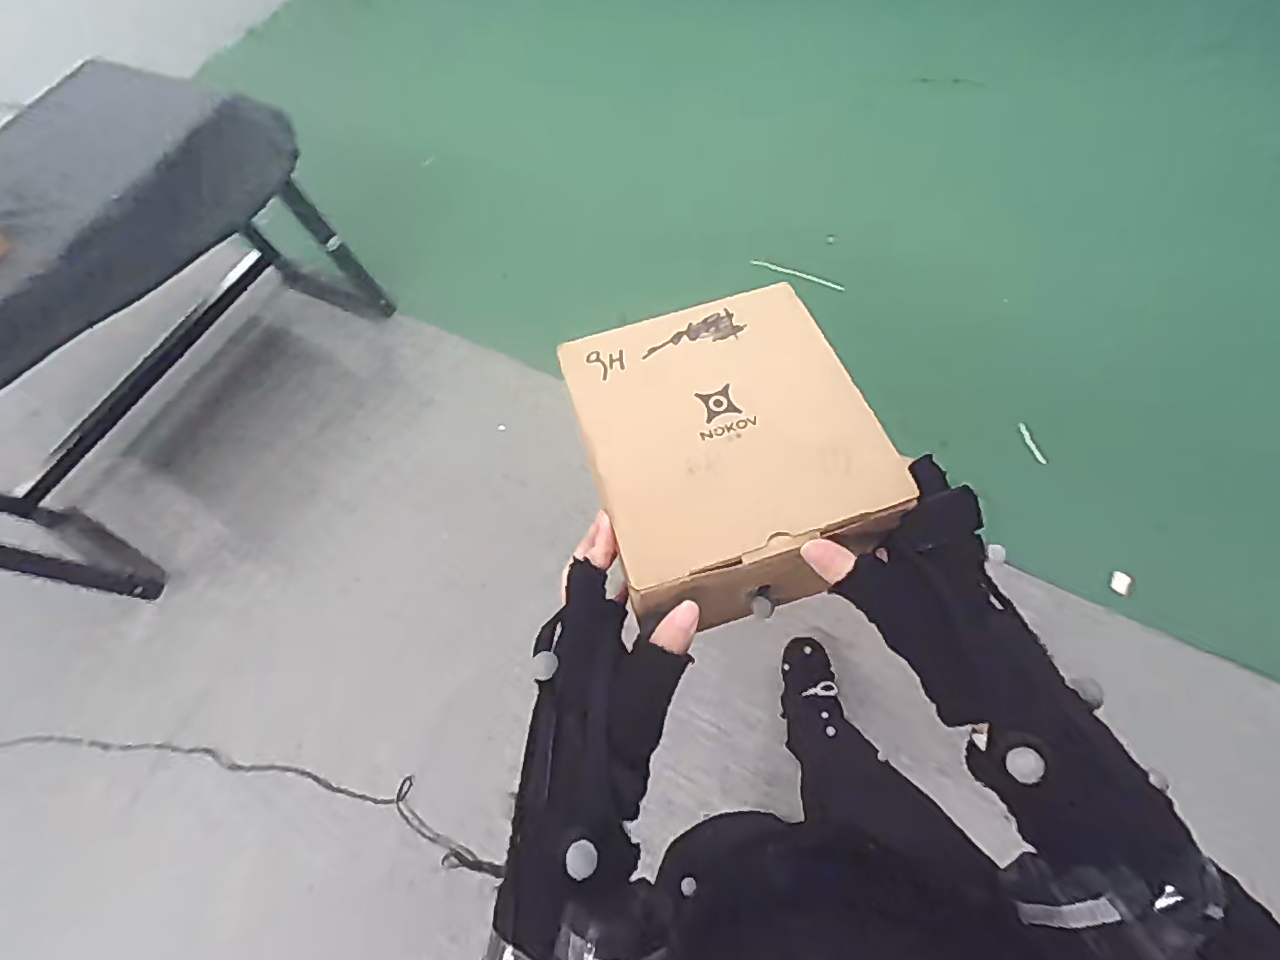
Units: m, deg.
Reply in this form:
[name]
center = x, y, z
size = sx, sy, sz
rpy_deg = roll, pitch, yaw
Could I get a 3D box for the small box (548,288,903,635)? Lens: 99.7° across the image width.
[small box]
center = 0.047, 0.002, 0.393
size = 0.168, 0.176, 0.179
rpy_deg = -18, 65, -5
